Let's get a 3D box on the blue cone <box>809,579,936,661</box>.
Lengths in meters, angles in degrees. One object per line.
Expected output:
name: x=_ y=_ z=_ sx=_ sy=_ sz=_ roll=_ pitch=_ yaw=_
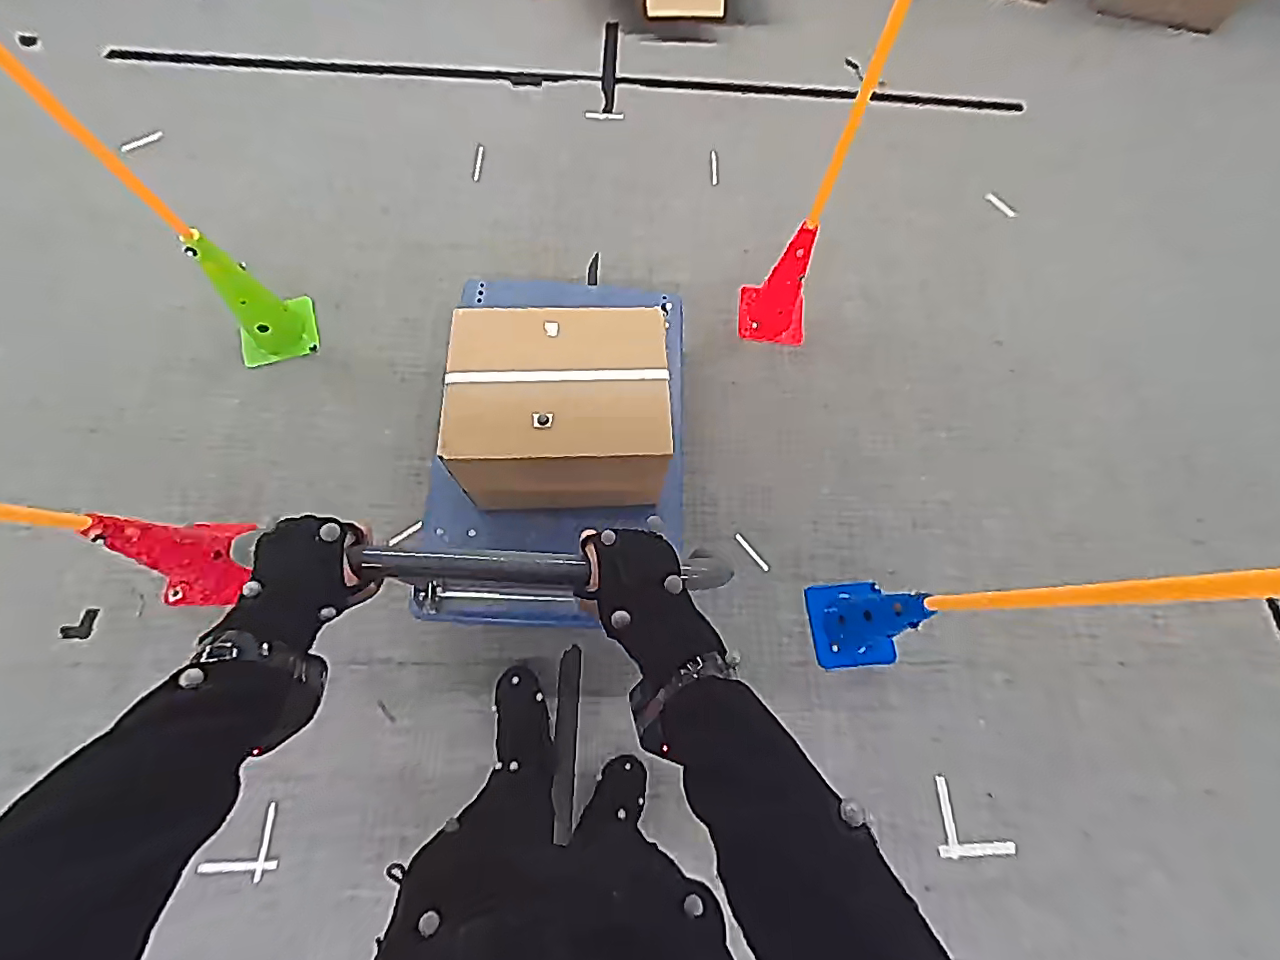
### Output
blue cone: x=0.535 y=0.285 z=1.188 sx=0.193 sy=0.380 sz=0.192 roll=-2 pitch=69 yaw=-5

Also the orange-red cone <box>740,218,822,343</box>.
orange-red cone: x=0.419 y=-0.568 z=1.484 sx=0.199 sy=0.360 sz=0.198 roll=8 pitch=70 yaw=-1
